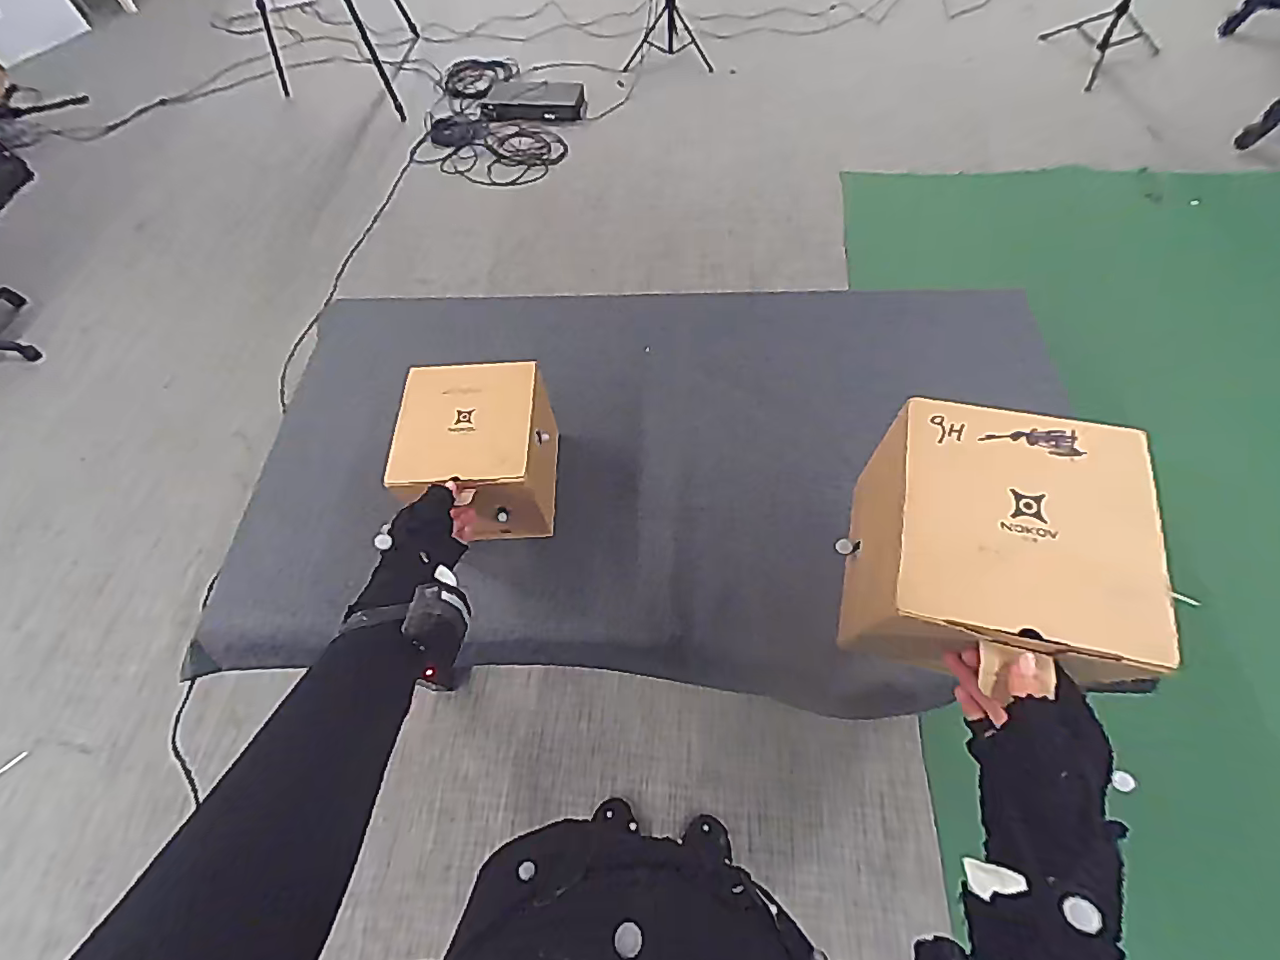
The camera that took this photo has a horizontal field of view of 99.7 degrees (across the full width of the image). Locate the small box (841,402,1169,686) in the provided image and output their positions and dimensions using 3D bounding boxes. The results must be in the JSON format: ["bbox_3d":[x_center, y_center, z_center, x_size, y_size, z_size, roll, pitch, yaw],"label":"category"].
[{"bbox_3d":[0.275,0.063,0.450,0.168,0.176,0.179,11,68,10],"label":"small box"}]

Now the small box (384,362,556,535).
[{"bbox_3d":[-0.209,-0.033,0.719,0.168,0.176,0.179,-2,60,0],"label":"small box"}]
